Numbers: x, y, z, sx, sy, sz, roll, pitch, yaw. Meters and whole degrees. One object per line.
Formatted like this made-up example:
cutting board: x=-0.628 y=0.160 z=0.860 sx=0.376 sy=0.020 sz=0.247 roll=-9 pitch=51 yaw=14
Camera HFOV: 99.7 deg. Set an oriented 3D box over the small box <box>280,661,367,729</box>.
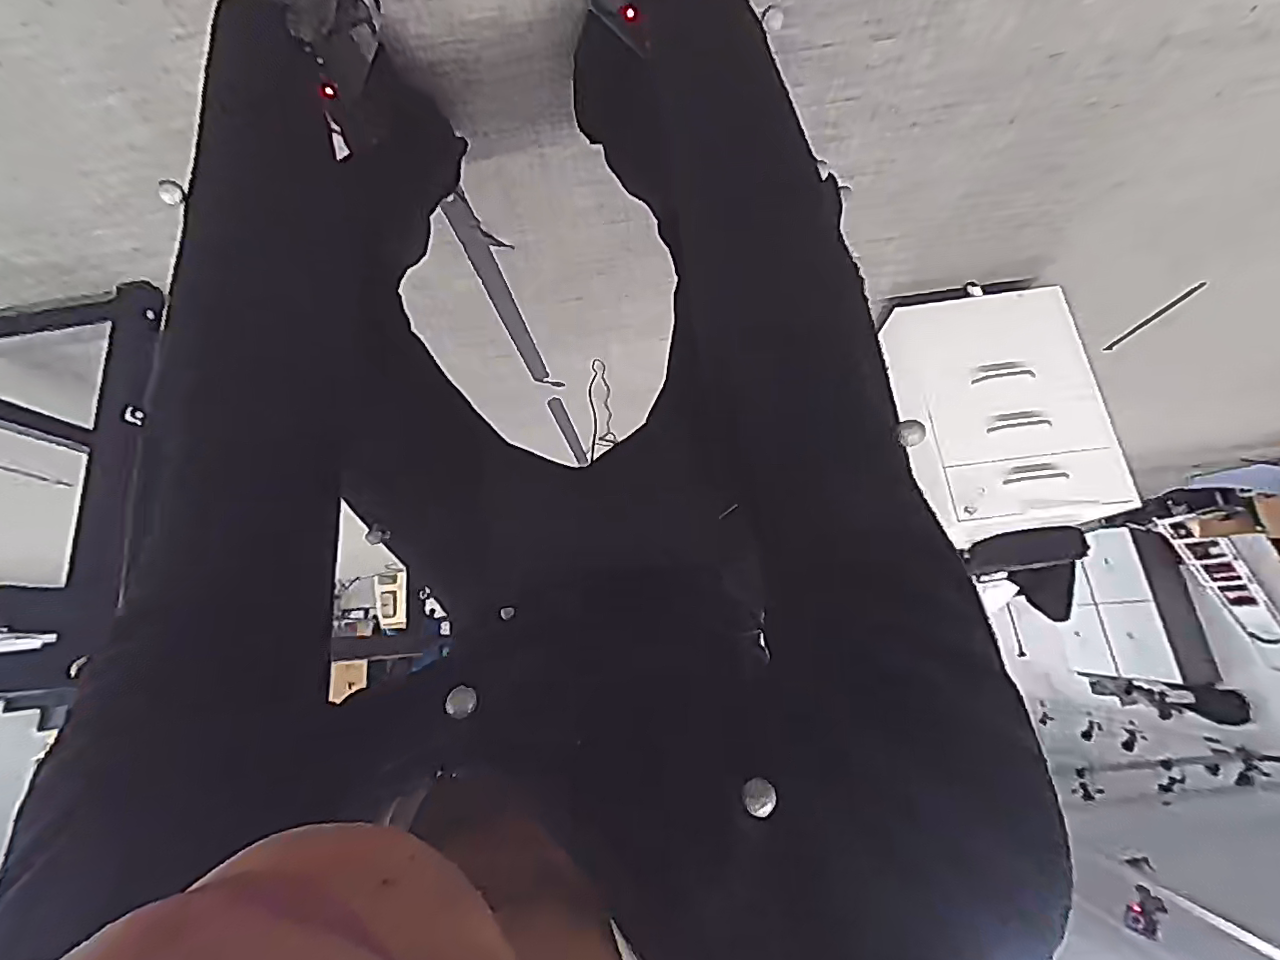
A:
small box: x=-0.968 y=0.653 z=1.665 sx=0.179 sy=0.176 sz=0.168 roll=-8 pitch=164 yaw=4
